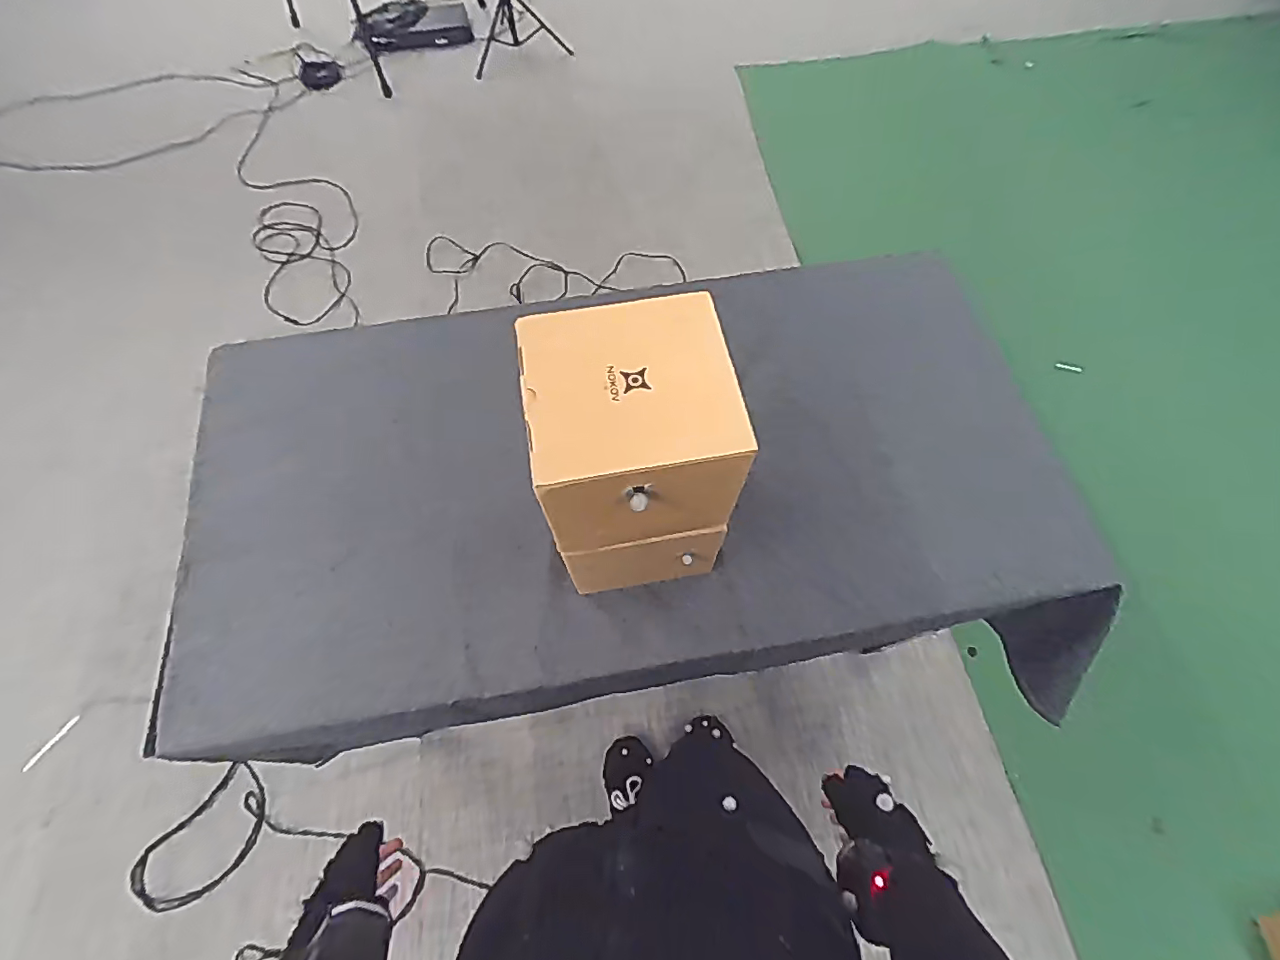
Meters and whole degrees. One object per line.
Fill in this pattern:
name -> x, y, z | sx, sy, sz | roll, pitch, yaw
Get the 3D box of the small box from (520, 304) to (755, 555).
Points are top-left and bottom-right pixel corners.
small box -> -0.008, -0.040, 0.521 | 0.179, 0.176, 0.168 | -10, 65, -4
